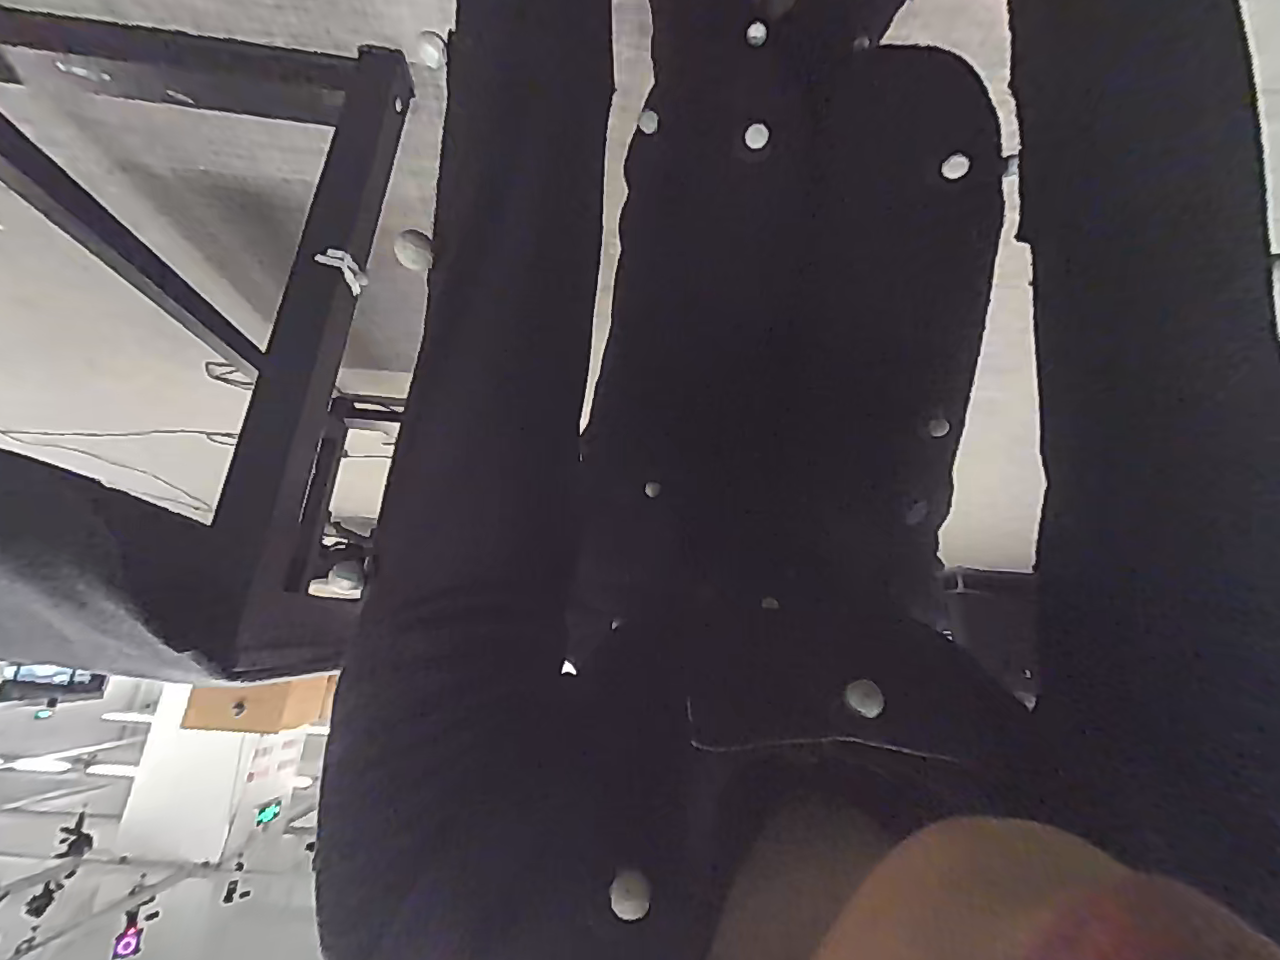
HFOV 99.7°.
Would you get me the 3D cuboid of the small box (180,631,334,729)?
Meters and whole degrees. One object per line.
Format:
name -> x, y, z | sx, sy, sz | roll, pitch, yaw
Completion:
small box -> -0.752, 0.394, 1.084 | 0.179, 0.176, 0.168 | 5, 163, -5
